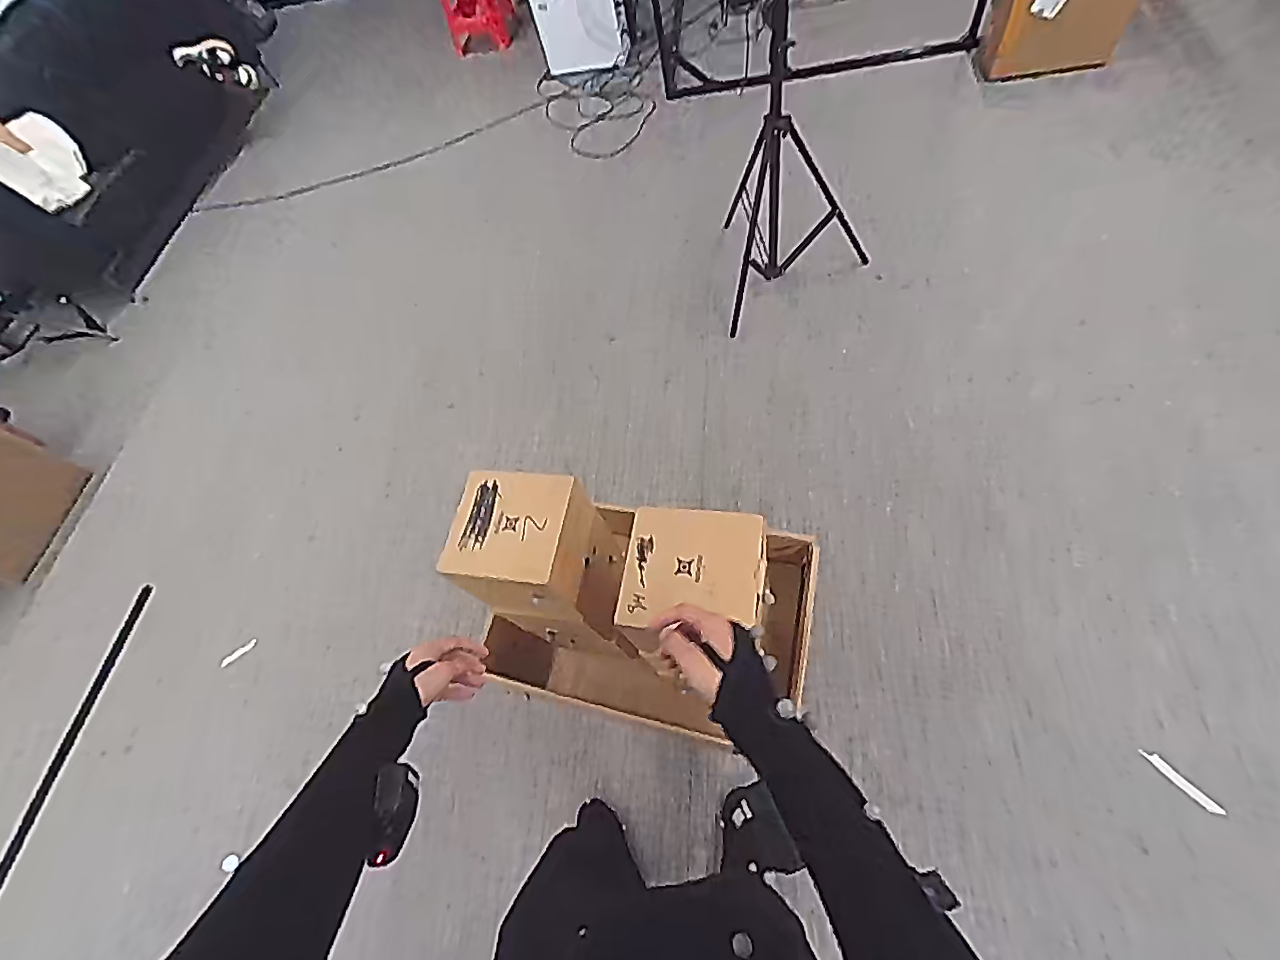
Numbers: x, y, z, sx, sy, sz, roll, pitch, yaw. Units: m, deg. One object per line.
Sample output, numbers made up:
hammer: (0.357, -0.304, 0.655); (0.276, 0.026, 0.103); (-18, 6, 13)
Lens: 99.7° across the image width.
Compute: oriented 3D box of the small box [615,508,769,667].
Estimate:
small box: (0.082, 0.155, 0.754); (0.179, 0.176, 0.168); (5, 62, 15)

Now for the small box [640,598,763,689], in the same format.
small box: (0.111, 0.235, 0.895); (0.168, 0.176, 0.179); (6, 63, 16)

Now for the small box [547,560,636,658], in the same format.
small box: (-0.096, 0.261, 1.115); (0.179, 0.176, 0.168); (6, 64, 15)

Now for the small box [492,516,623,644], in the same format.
small box: (-0.136, 0.182, 0.977); (0.168, 0.176, 0.179); (2, 62, 16)
